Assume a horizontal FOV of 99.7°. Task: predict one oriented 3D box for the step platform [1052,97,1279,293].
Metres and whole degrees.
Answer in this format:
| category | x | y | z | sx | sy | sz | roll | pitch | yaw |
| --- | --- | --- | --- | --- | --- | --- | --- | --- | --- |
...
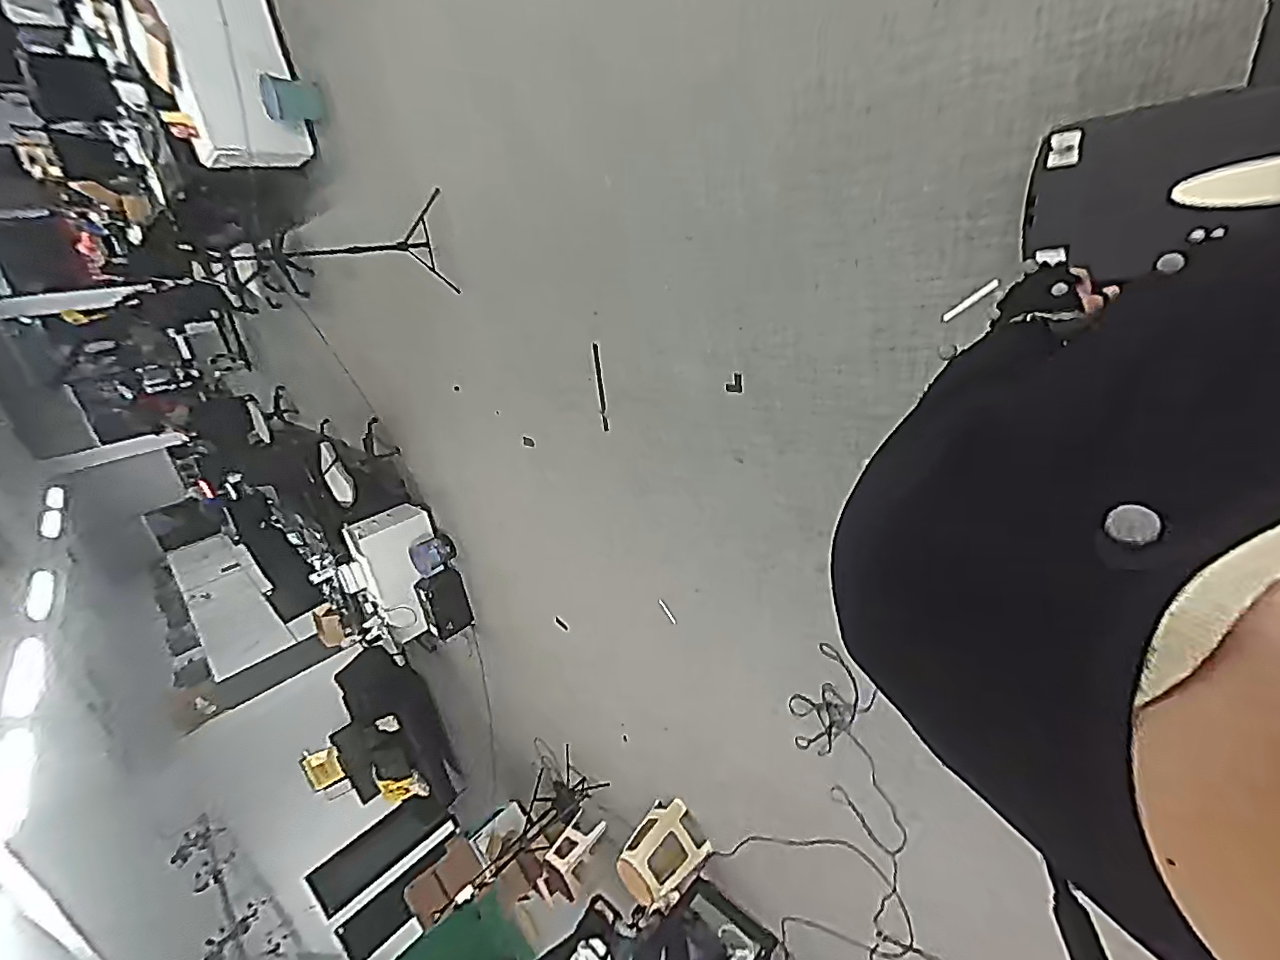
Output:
| category | x | y | z | sx | sy | sz | roll | pitch | yaw |
| --- | --- | --- | --- | --- | --- | --- | --- | --- | --- |
| step platform | 1.084 | -0.452 | 0.856 | 0.684 | 0.204 | 0.286 | 19 | 123 | 40 |
